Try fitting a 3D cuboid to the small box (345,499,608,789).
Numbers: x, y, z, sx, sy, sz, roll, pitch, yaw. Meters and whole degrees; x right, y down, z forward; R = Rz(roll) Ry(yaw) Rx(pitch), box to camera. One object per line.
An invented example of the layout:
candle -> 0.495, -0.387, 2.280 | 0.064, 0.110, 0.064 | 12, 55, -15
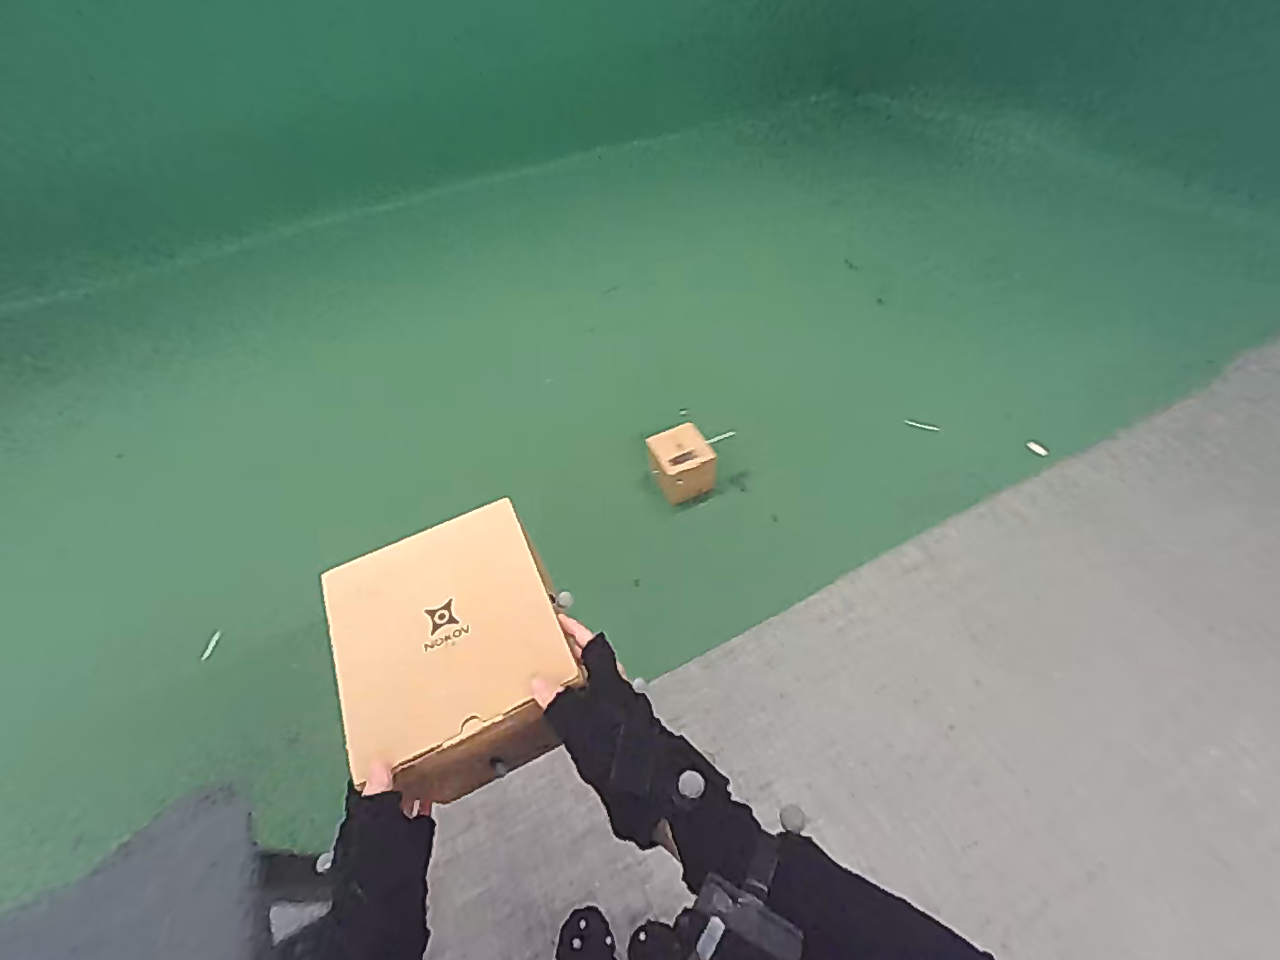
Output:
small box -> -0.138, 0.153, 0.491 | 0.168, 0.176, 0.179 | -21, 59, -11
